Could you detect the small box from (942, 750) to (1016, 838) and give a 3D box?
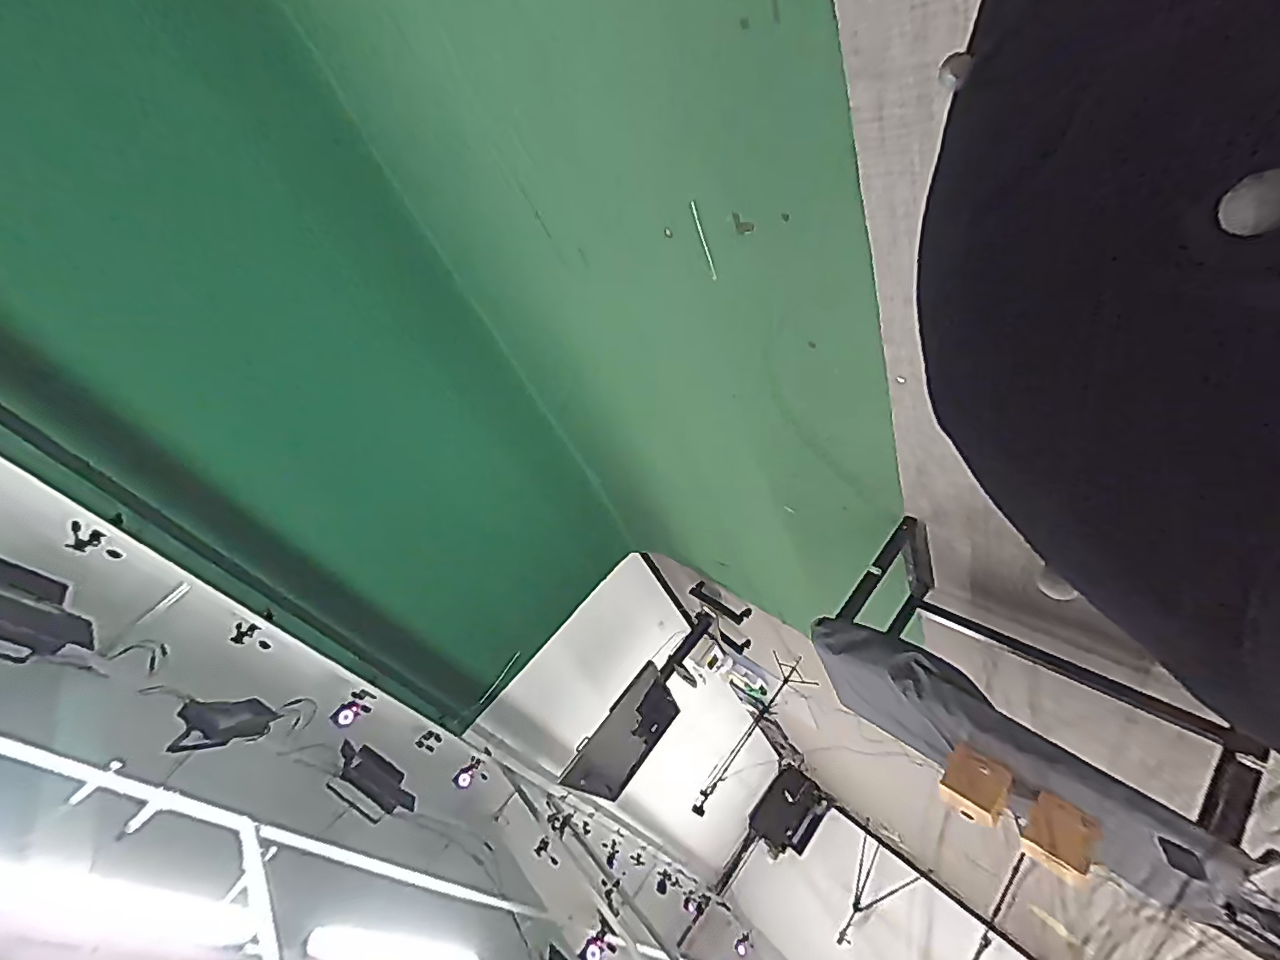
[{"bbox_3d":[1.159,1.065,1.842,0.168,0.176,0.179,19,148,48],"label":"small box"}]

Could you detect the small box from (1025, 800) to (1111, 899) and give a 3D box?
[{"bbox_3d":[1.313,1.127,1.661,0.168,0.176,0.179,21,152,47],"label":"small box"}]
